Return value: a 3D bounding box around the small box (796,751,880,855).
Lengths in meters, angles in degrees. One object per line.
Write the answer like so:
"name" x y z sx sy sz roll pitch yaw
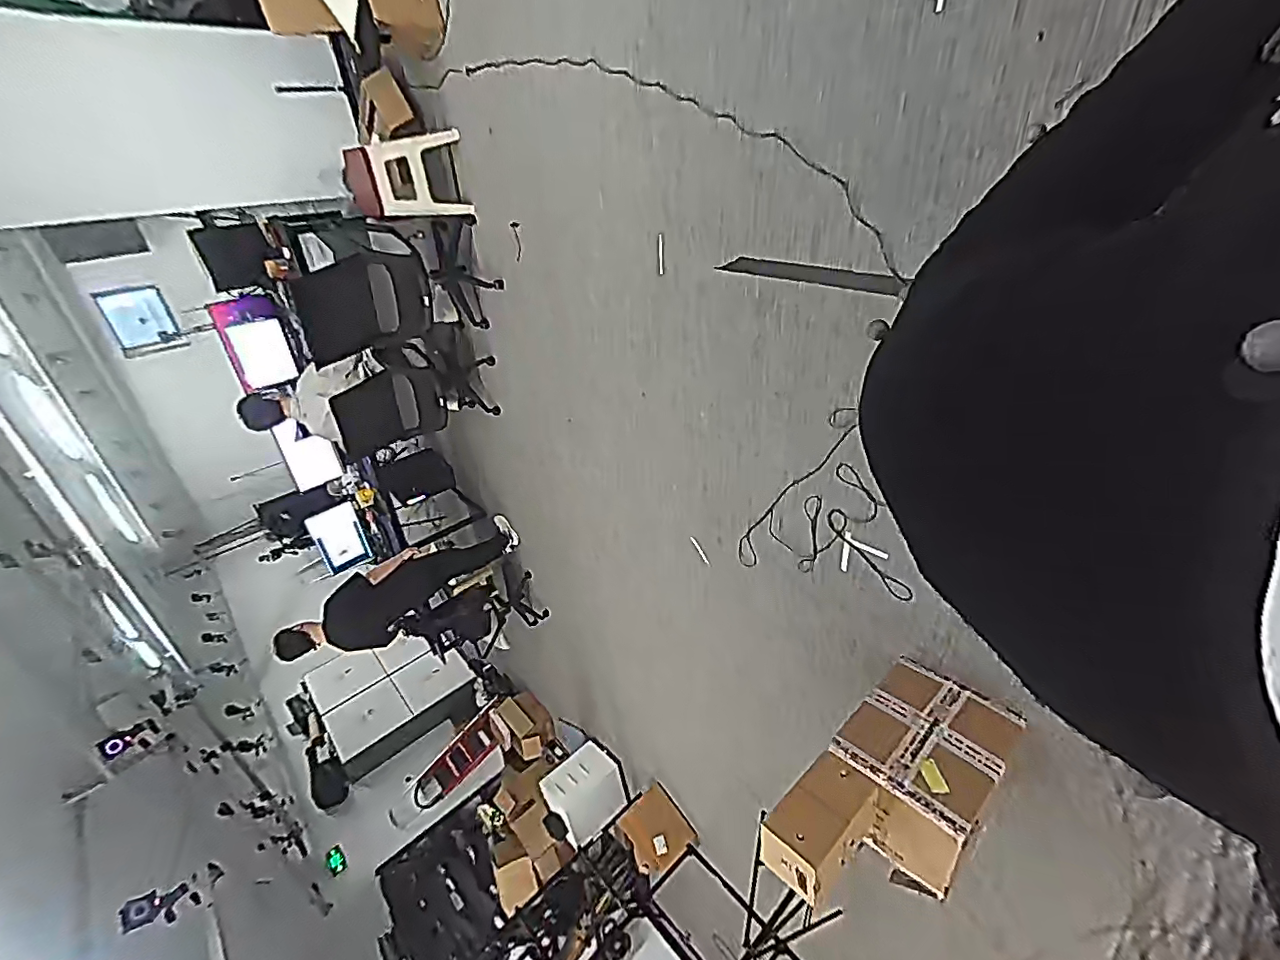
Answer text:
"small box" 0.585 0.947 1.607 0.179 0.176 0.168 20 125 46

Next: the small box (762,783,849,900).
"small box" 0.462 0.998 1.509 0.179 0.176 0.168 20 124 46
